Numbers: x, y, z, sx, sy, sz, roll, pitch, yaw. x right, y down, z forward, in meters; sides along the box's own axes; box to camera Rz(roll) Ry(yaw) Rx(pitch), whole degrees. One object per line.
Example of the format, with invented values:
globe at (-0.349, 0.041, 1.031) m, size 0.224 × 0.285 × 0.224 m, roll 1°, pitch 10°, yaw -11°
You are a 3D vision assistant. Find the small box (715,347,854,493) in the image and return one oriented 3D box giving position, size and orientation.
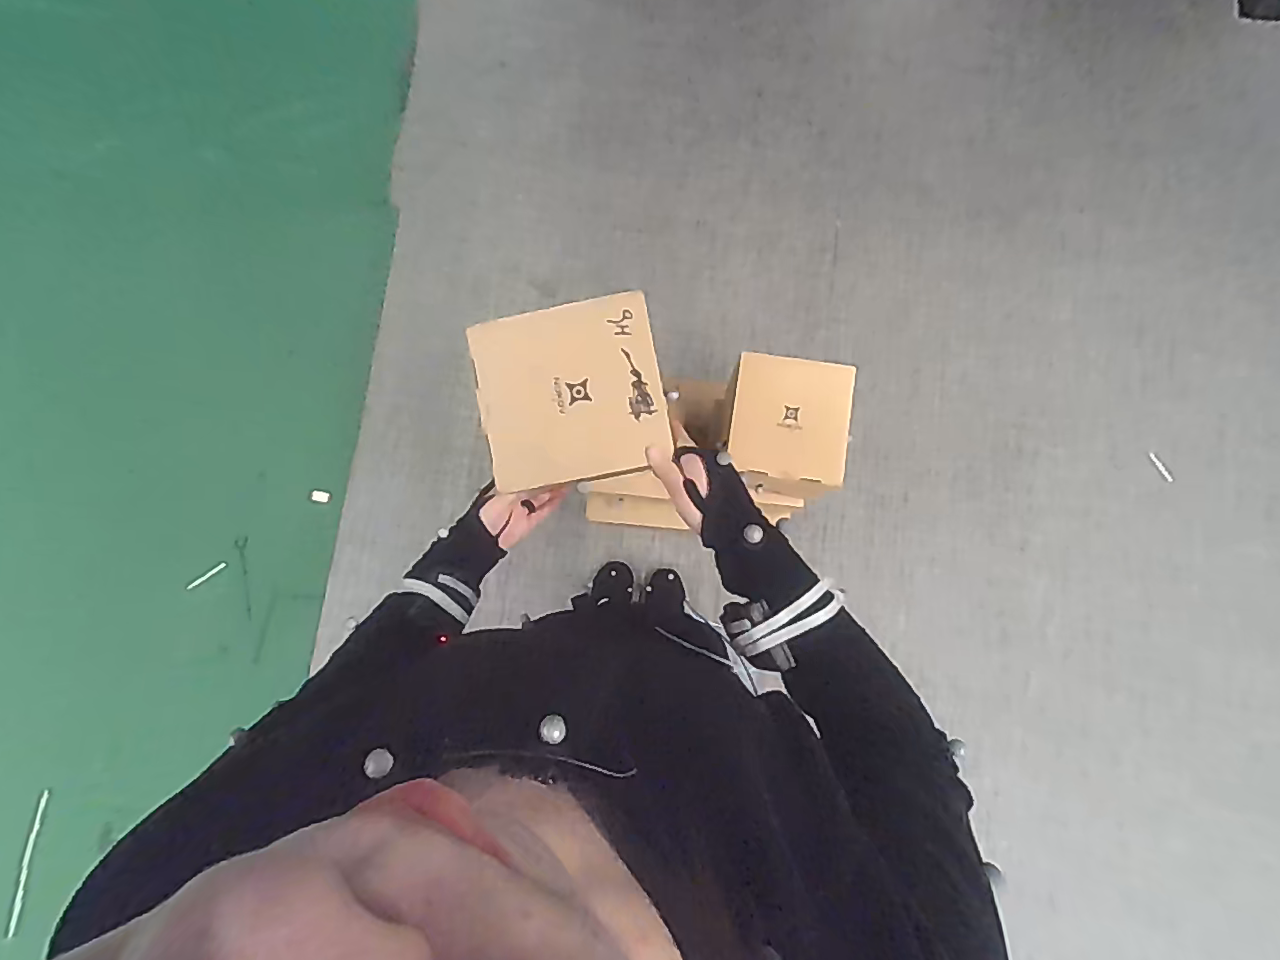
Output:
small box at (0.216, -0.085, 0.847) m, size 0.168 × 0.176 × 0.179 m, roll 9°, pitch 83°, yaw 3°
